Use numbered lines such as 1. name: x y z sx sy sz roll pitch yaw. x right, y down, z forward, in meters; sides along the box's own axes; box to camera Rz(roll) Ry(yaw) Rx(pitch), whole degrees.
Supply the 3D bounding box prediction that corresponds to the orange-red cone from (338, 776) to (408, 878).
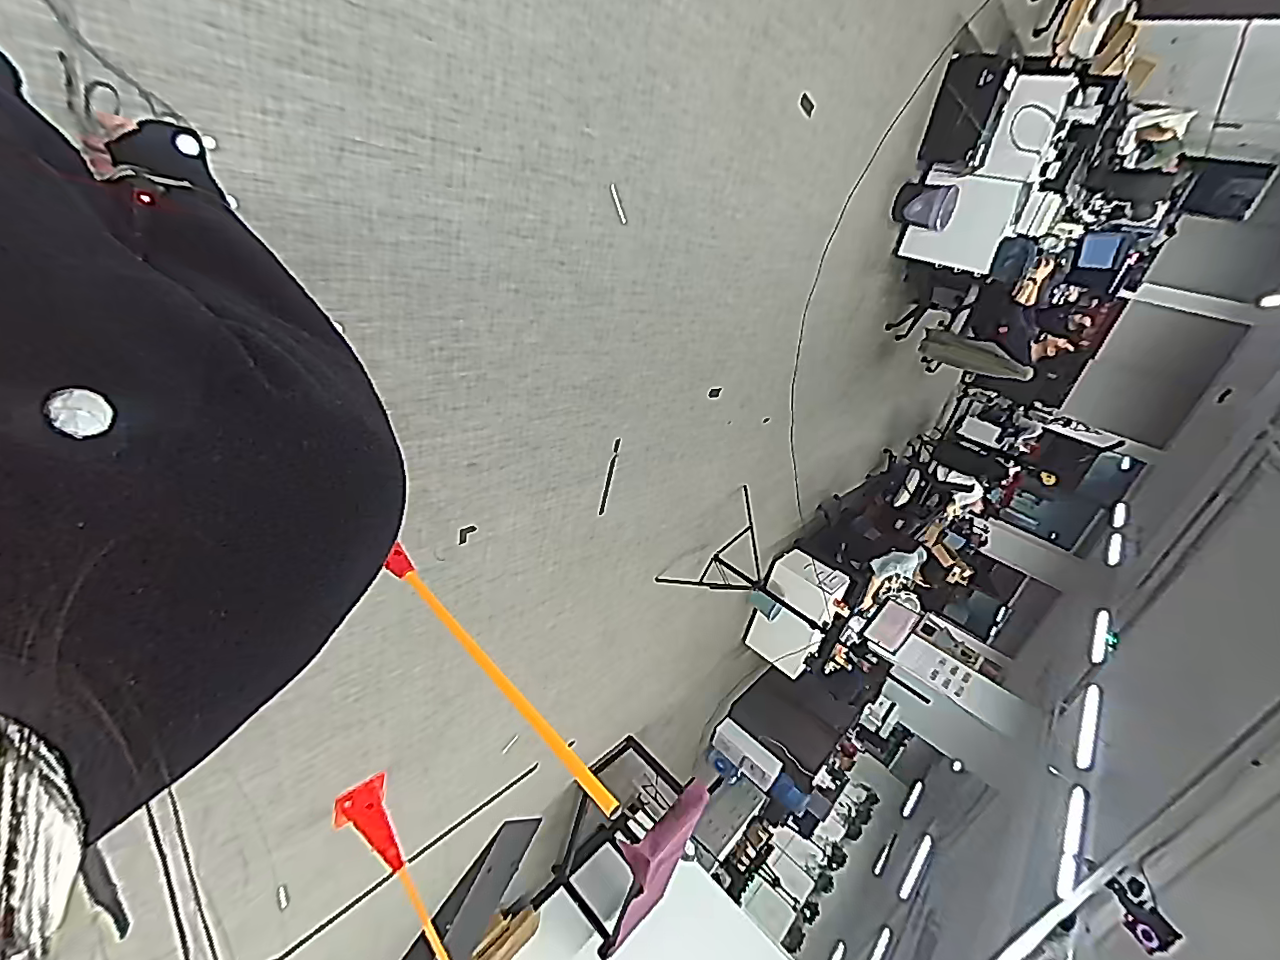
1. orange-red cone: -1.014 1.403 2.129 0.198 0.360 0.199 -14 128 -47
